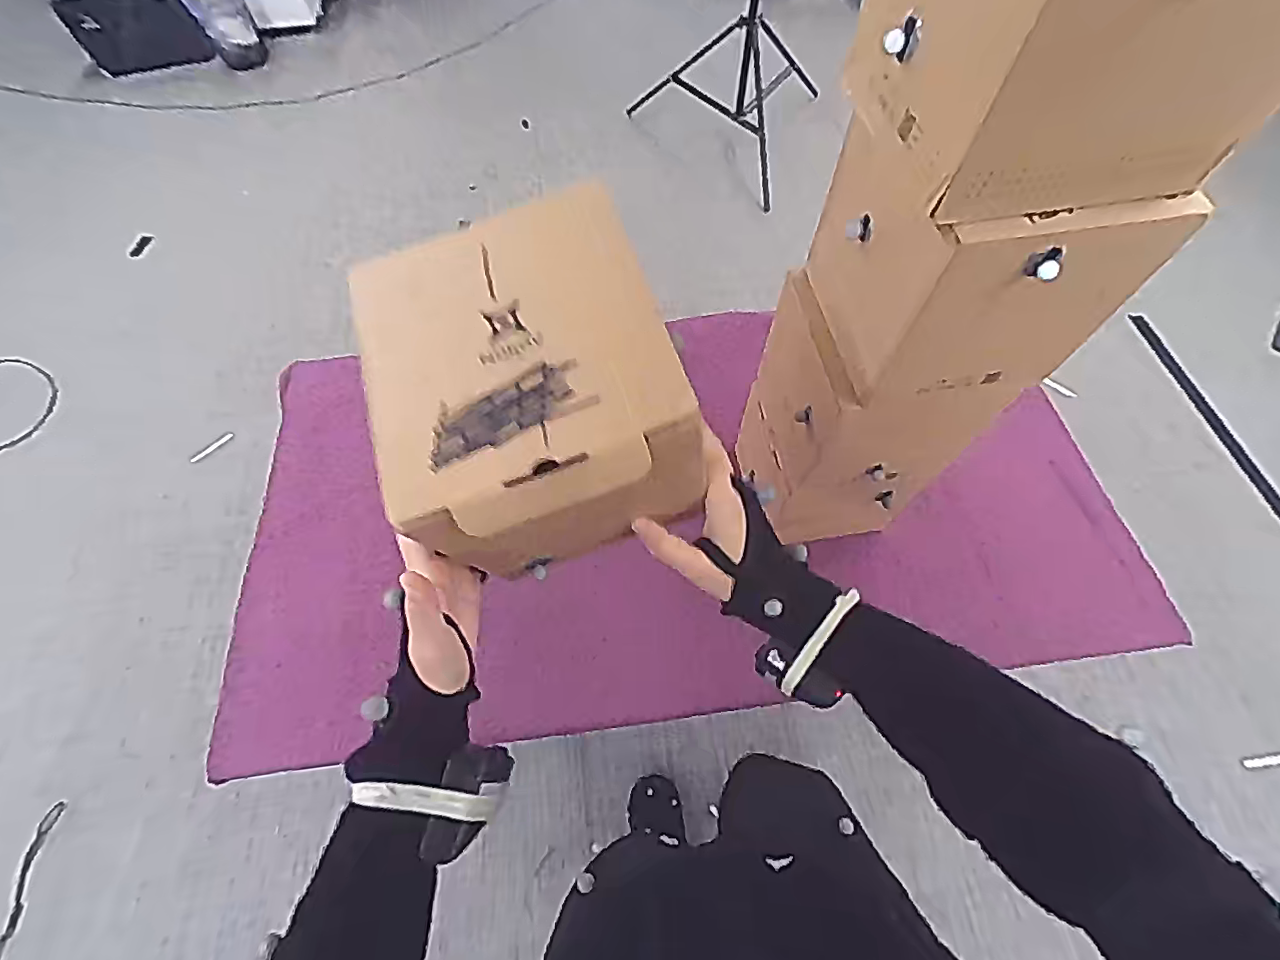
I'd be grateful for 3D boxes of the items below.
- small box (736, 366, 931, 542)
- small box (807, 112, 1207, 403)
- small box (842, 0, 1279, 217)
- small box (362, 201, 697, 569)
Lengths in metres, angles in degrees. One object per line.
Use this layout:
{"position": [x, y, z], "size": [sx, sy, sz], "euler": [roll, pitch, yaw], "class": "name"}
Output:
{"position": [0.238, -0.031, 0.718], "size": [0.179, 0.176, 0.168], "euler": [-8, 62, -2], "class": "small box"}
{"position": [0.251, -0.187, 0.430], "size": [0.168, 0.176, 0.179], "euler": [-8, 62, -3], "class": "small box"}
{"position": [0.239, -0.273, 0.292], "size": [0.179, 0.176, 0.168], "euler": [-9, 62, -3], "class": "small box"}
{"position": [-0.063, -0.047, 0.384], "size": [0.168, 0.176, 0.179], "euler": [-20, 68, 0], "class": "small box"}
